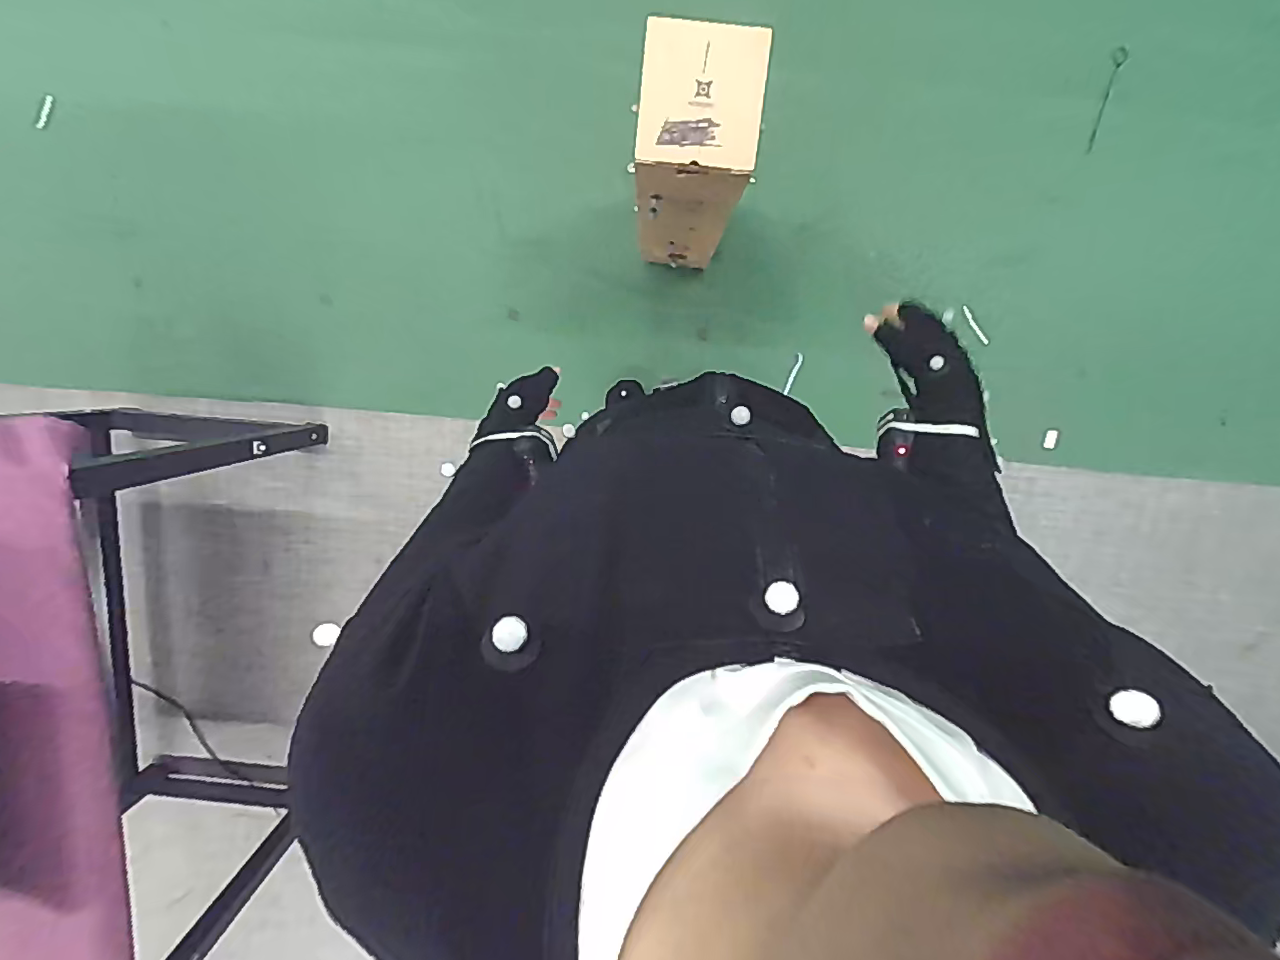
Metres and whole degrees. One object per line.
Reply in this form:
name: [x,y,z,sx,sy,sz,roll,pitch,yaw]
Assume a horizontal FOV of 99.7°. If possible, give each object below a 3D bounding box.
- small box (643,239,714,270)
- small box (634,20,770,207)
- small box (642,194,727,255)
small box: [0.099,-0.615,1.283,0.168,0.176,0.179,7,101,1]
small box: [0.083,-0.523,0.800,0.168,0.176,0.179,5,100,0]
small box: [0.093,-0.586,1.123,0.168,0.176,0.179,5,101,0]
